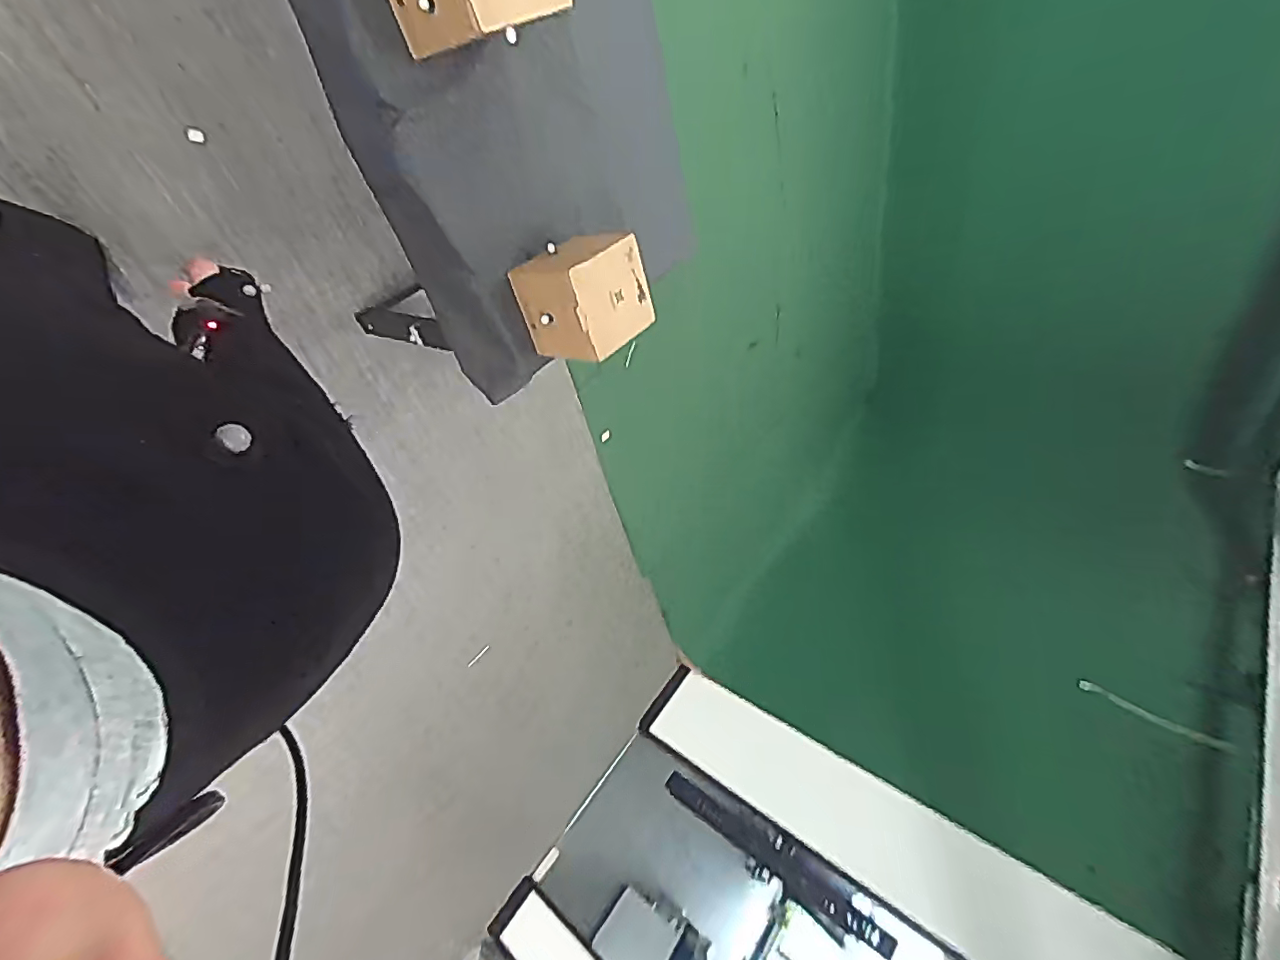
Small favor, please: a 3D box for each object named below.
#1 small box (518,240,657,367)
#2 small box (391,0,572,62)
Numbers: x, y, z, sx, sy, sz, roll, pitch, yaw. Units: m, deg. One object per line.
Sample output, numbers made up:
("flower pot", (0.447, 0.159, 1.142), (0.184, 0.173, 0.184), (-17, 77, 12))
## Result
("small box", (-0.100, -0.325, 0.995), (0.179, 0.176, 0.168), (-44, 133, -31))
("small box", (-0.225, -0.673, 0.699), (0.179, 0.176, 0.168), (-48, 139, -30))
